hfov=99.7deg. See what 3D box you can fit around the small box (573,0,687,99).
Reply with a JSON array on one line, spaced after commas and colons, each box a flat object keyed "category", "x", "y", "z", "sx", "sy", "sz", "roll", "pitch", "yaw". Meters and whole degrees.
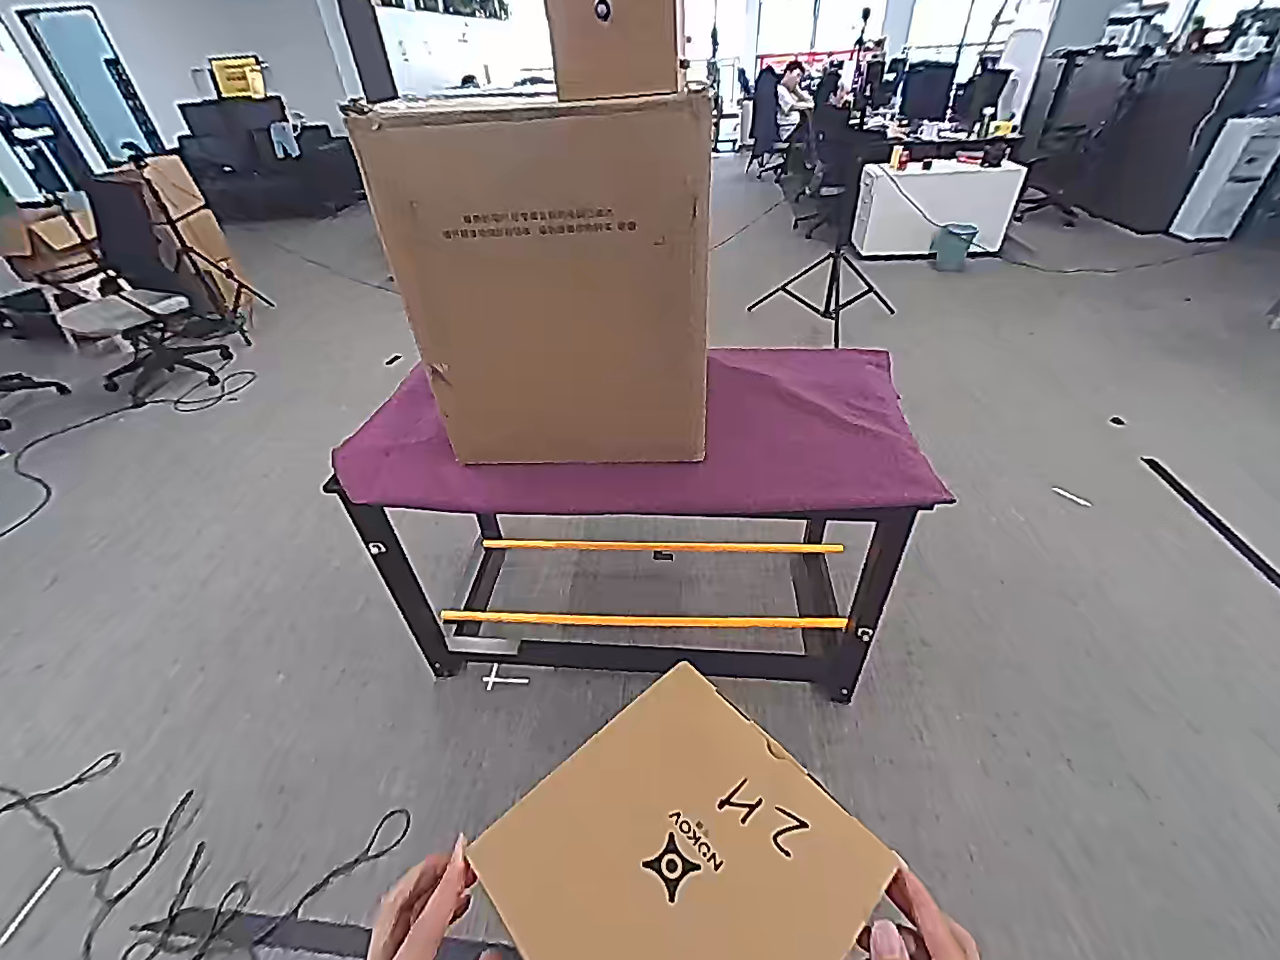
[{"category": "small box", "x": -0.012, "y": -0.745, "z": 0.900, "sx": 0.179, "sy": 0.176, "sz": 0.168, "roll": 0, "pitch": 38, "yaw": 5}]
